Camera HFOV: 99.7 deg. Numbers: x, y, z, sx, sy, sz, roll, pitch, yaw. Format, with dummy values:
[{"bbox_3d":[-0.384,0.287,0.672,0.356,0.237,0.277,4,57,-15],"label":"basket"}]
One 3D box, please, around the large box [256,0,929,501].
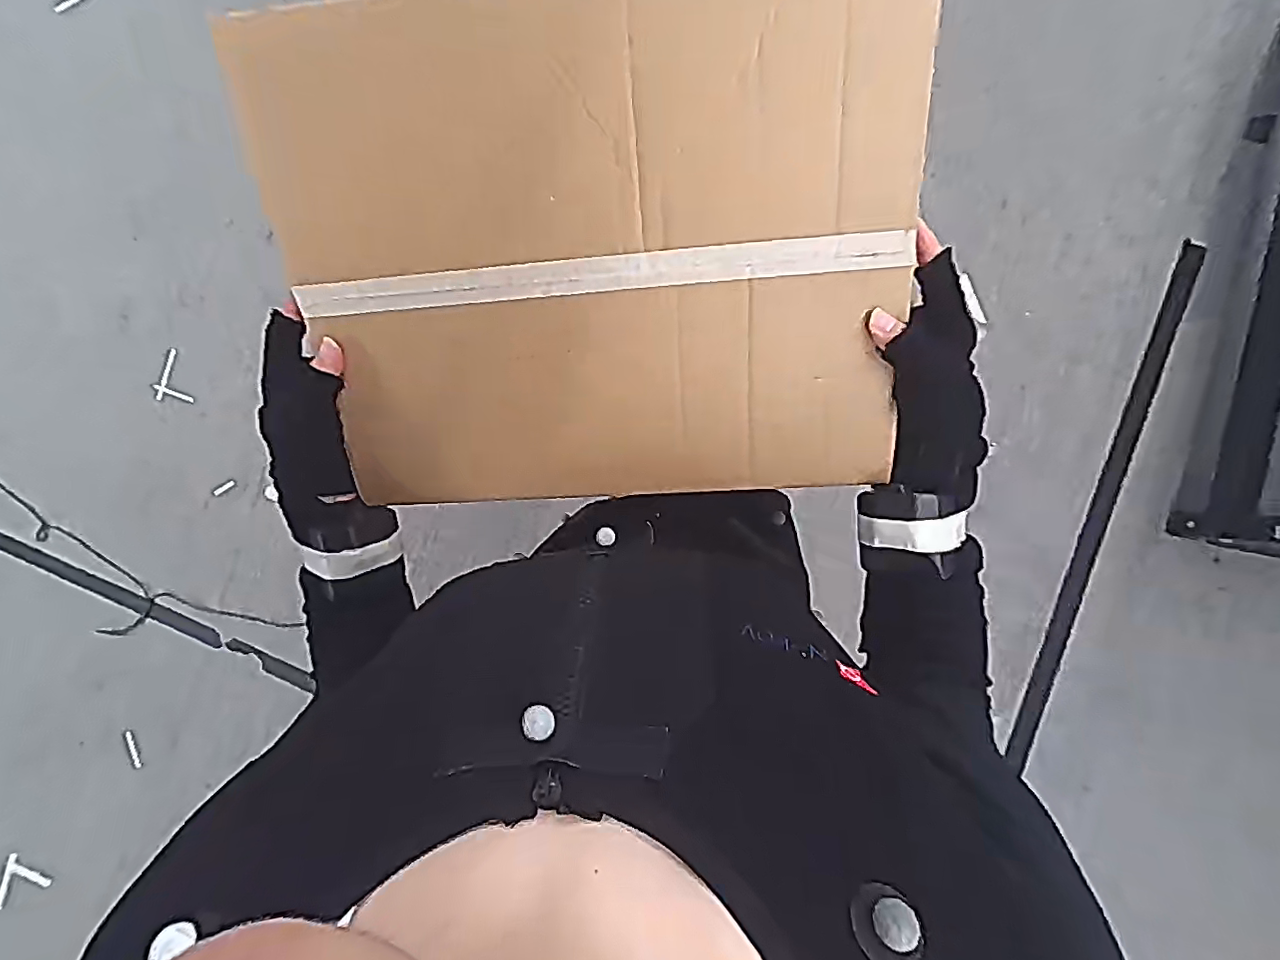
[{"bbox_3d":[-0.018,-0.193,0.502,0.408,0.320,0.320,-3,114,5],"label":"large box"}]
